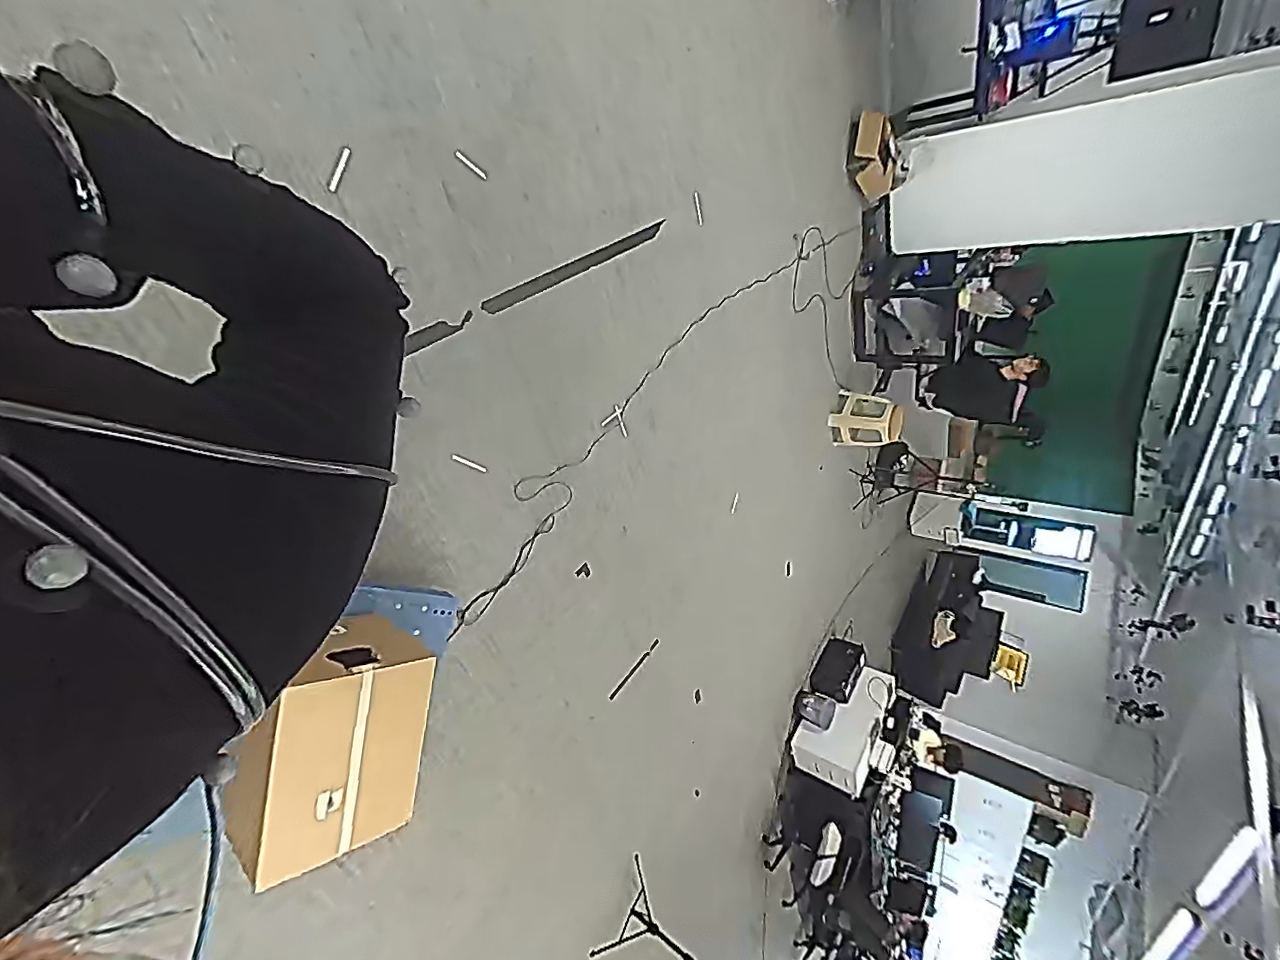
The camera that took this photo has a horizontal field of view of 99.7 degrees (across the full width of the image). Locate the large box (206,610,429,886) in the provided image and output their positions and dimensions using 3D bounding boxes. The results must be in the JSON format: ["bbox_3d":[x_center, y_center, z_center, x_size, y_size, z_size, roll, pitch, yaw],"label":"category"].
[{"bbox_3d":[-0.714,0.546,1.201,0.320,0.320,0.408,6,96,-51],"label":"large box"}]
